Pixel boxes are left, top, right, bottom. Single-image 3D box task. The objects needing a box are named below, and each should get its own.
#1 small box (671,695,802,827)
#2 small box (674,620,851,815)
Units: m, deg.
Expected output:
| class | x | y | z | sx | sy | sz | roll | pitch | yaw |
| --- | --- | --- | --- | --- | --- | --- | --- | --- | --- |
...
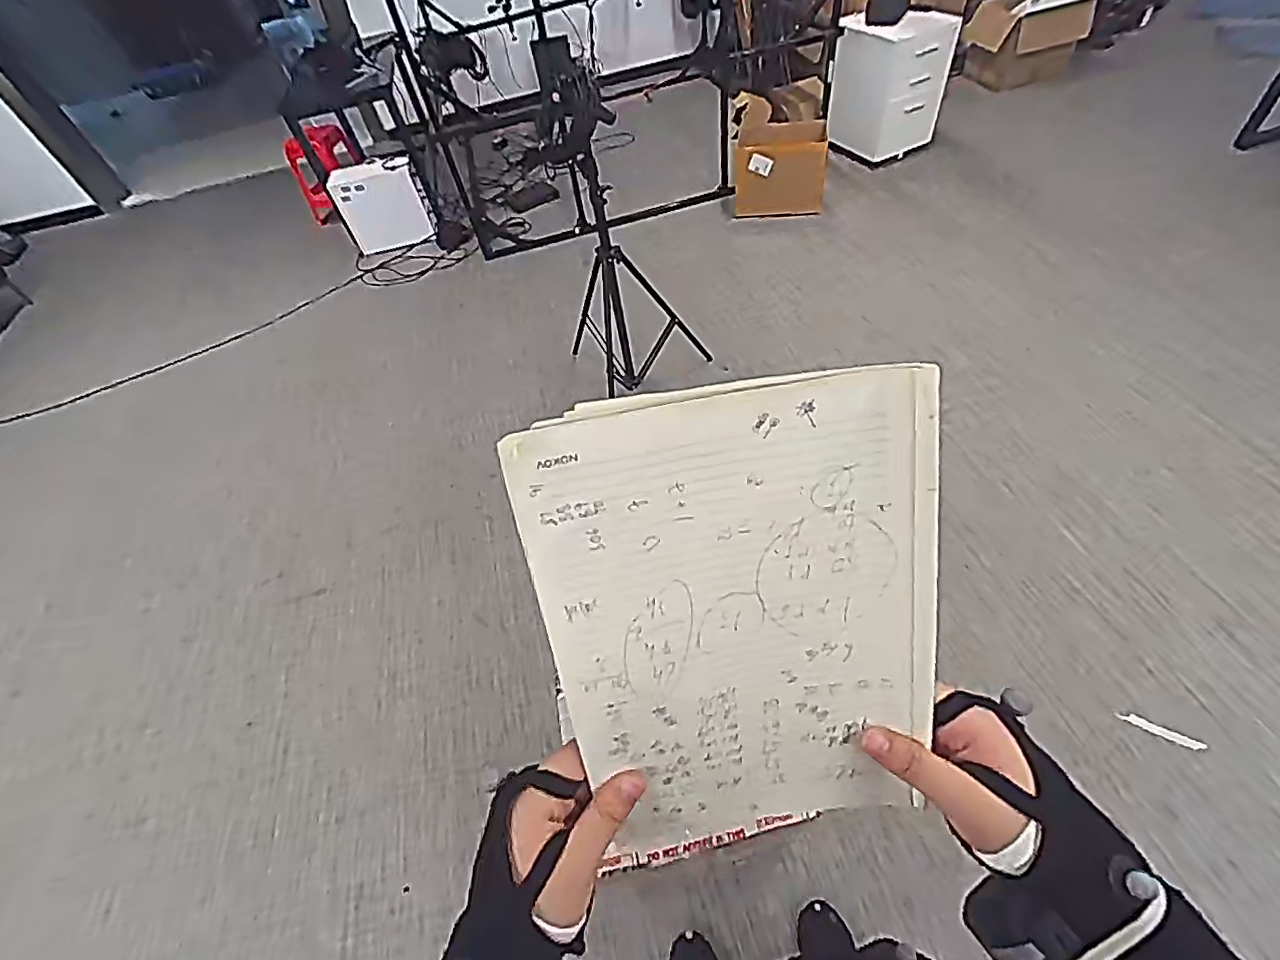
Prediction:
| class | x | y | z | sx | sy | sz | roll | pitch | yaw |
| --- | --- | --- | --- | --- | --- | --- | --- | --- | --- |
| small box | 0.156 | 0.414 | 0.838 | 0.179 | 0.176 | 0.168 | -17 | 52 | -6 |
| small box | 0.144 | 0.313 | 0.708 | 0.168 | 0.176 | 0.179 | -14 | 53 | -4 |
